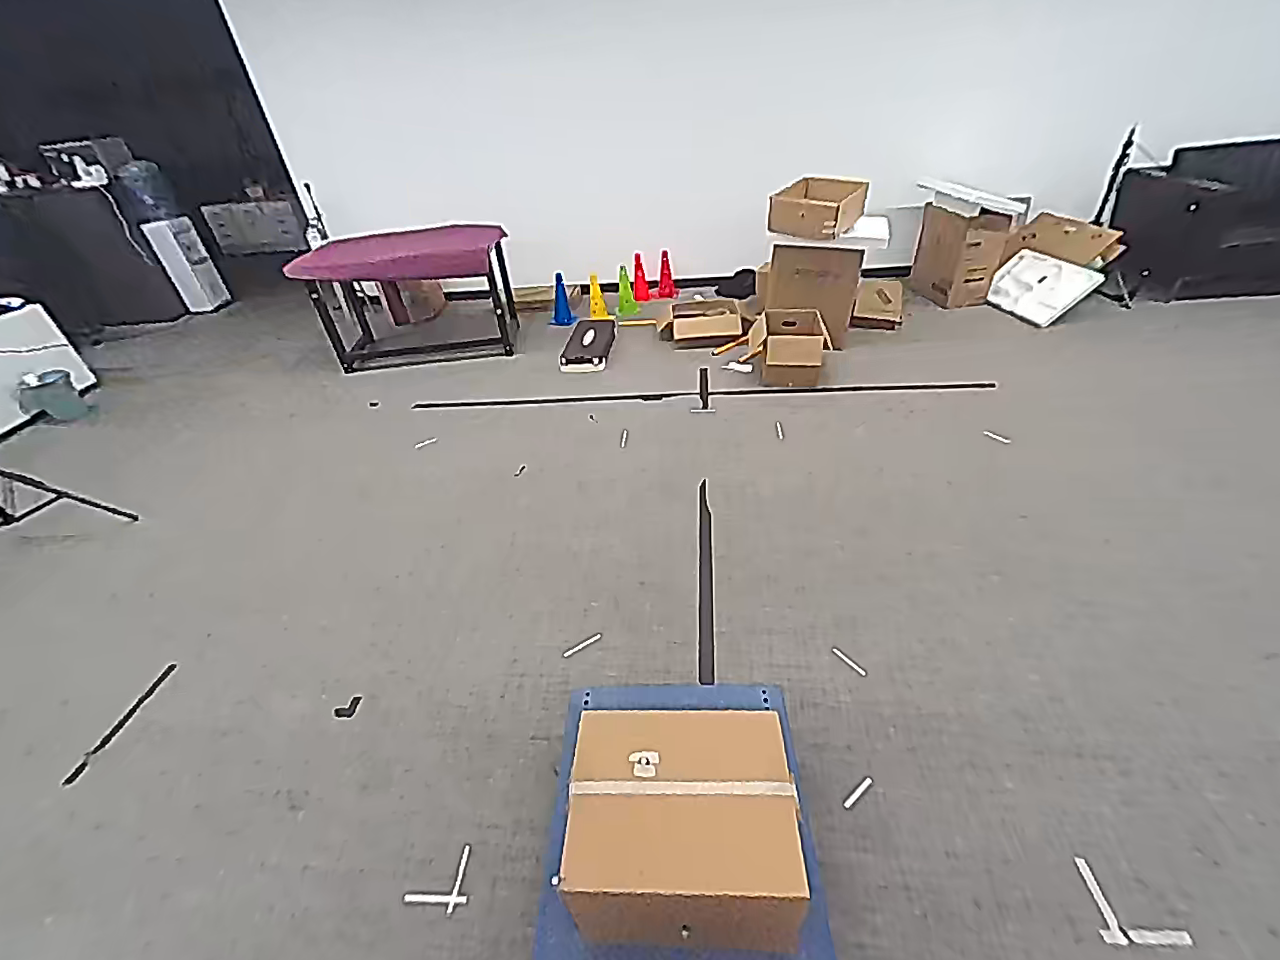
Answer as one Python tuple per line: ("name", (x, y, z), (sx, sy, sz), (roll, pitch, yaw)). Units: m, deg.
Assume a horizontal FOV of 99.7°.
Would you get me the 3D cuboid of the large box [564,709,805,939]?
("large box", (0.089, 0.694, 1.092), (0.408, 0.320, 0.320), (-3, 36, 5))
